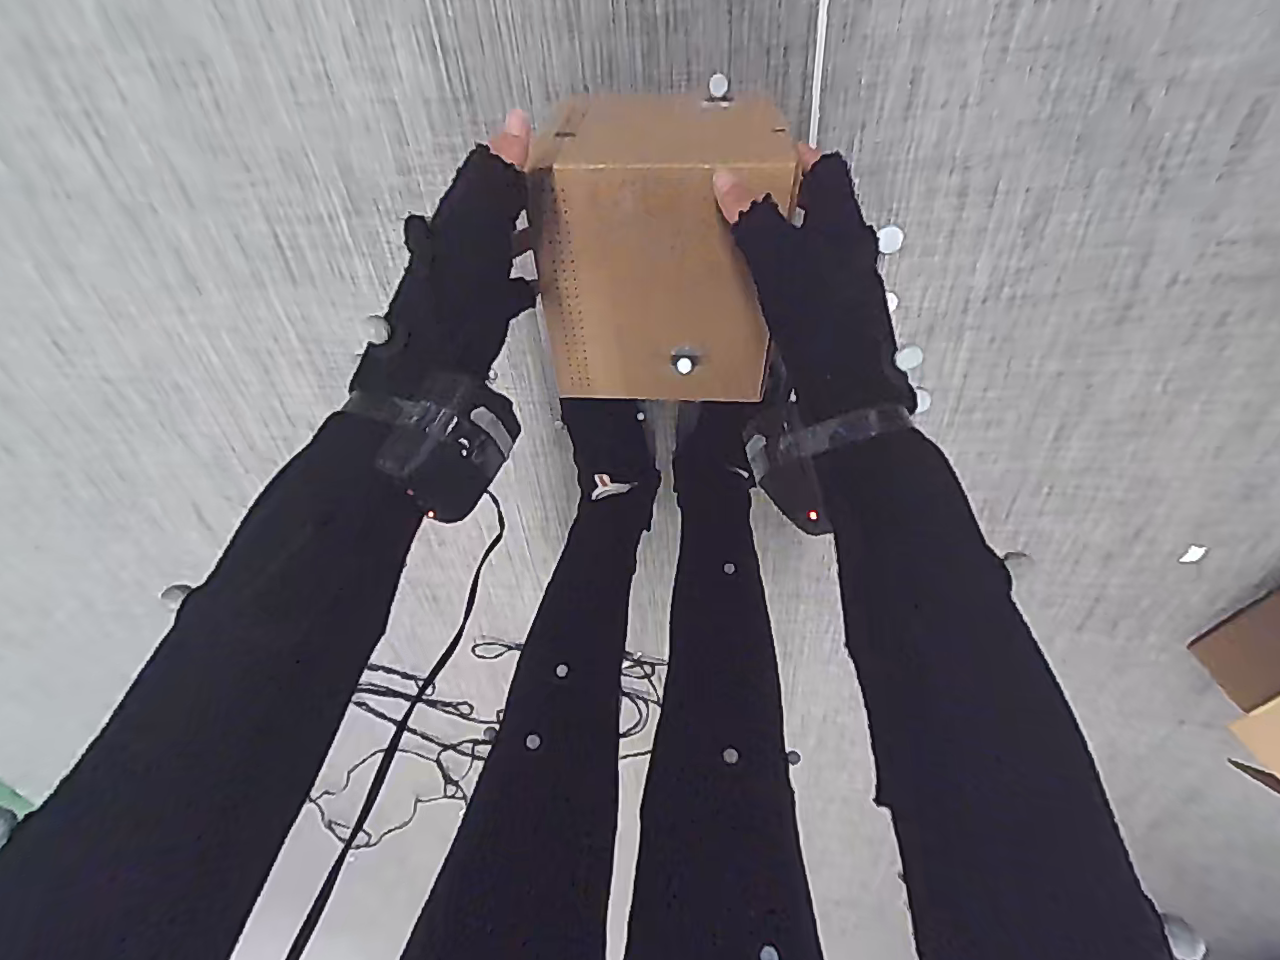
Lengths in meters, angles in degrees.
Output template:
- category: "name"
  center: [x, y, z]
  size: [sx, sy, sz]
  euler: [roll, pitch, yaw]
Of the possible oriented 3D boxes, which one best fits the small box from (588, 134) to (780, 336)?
- category: "small box"
  center: [0.054, -0.270, 0.591]
  size: [0.179, 0.176, 0.168]
  euler: [-2, 123, 10]
